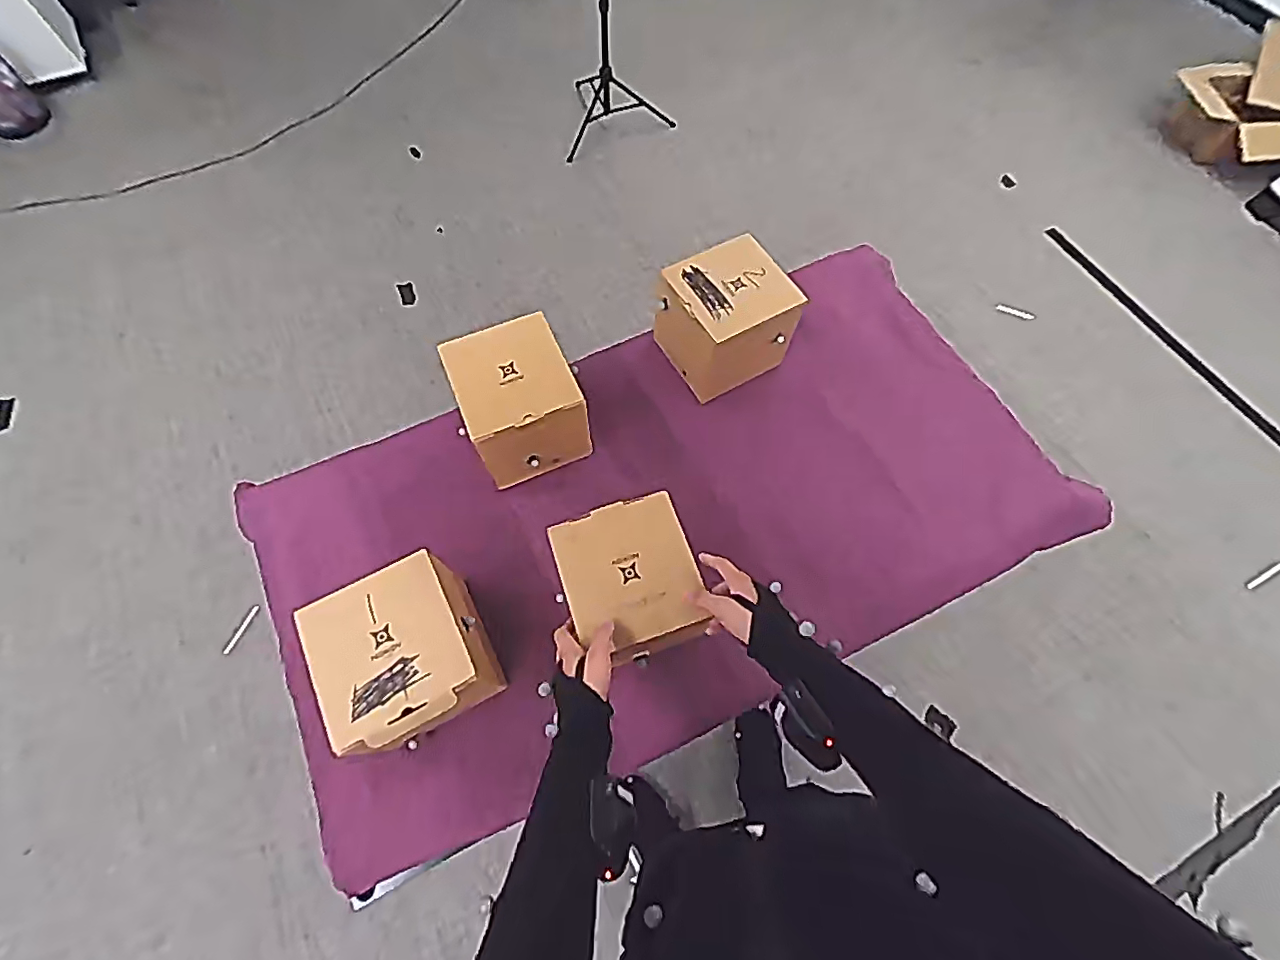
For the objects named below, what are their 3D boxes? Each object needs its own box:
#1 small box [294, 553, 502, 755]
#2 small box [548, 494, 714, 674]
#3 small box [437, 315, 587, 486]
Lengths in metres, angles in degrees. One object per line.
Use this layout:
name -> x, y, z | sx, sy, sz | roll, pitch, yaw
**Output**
small box -> -0.297, 0.224, 0.698 | 0.168, 0.176, 0.179 | -27, 68, -12
small box -> -0.016, 0.148, 0.737 | 0.168, 0.176, 0.179 | -18, 67, -8
small box -> -0.192, -0.118, 0.846 | 0.168, 0.176, 0.179 | -23, 69, -11
